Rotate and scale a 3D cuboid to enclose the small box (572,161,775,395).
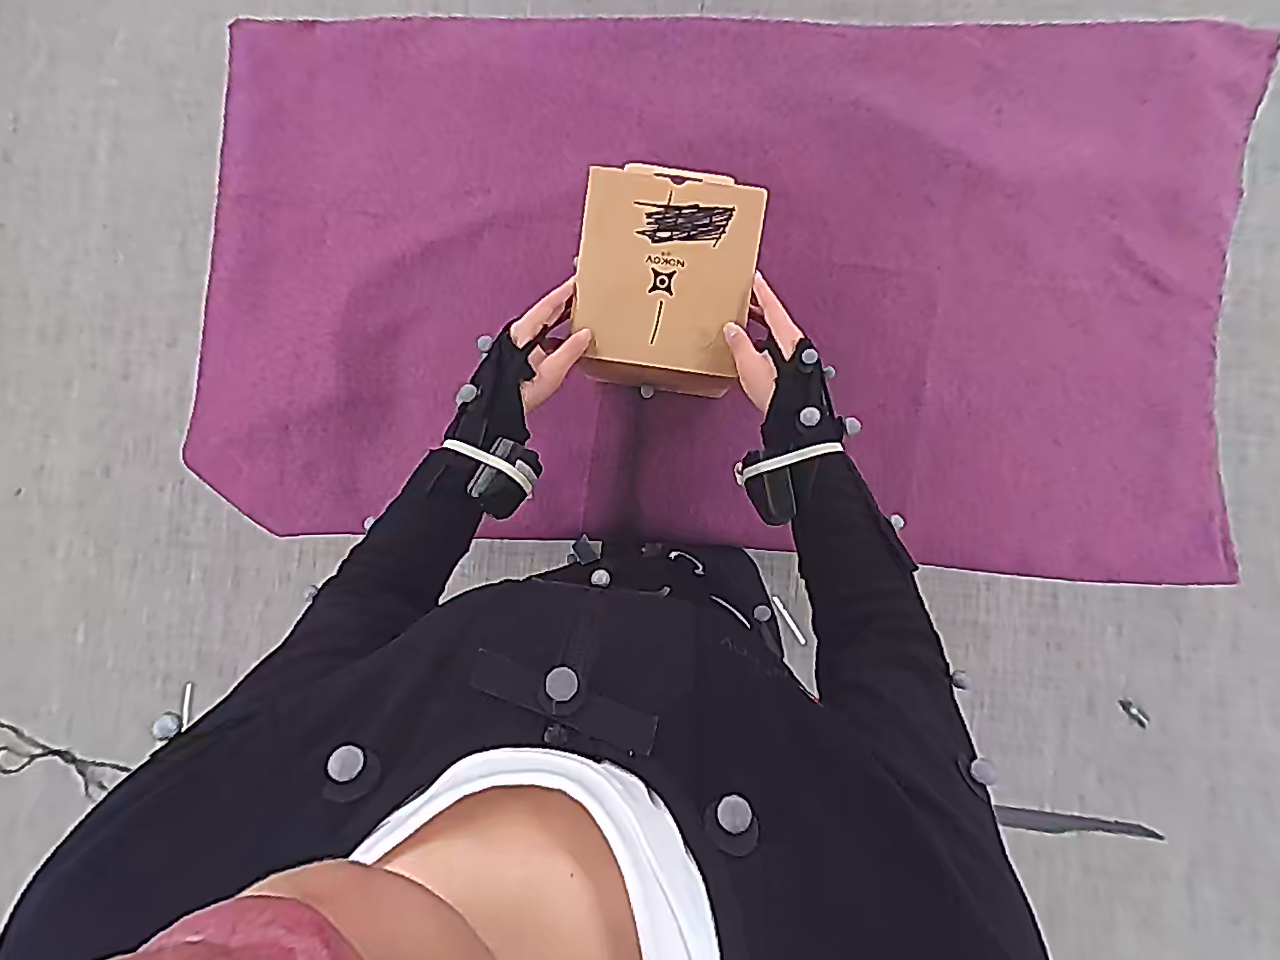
[{"bbox_3d":[0.032,-0.196,0.573,0.168,0.176,0.179,9,93,2],"label":"small box"}]
